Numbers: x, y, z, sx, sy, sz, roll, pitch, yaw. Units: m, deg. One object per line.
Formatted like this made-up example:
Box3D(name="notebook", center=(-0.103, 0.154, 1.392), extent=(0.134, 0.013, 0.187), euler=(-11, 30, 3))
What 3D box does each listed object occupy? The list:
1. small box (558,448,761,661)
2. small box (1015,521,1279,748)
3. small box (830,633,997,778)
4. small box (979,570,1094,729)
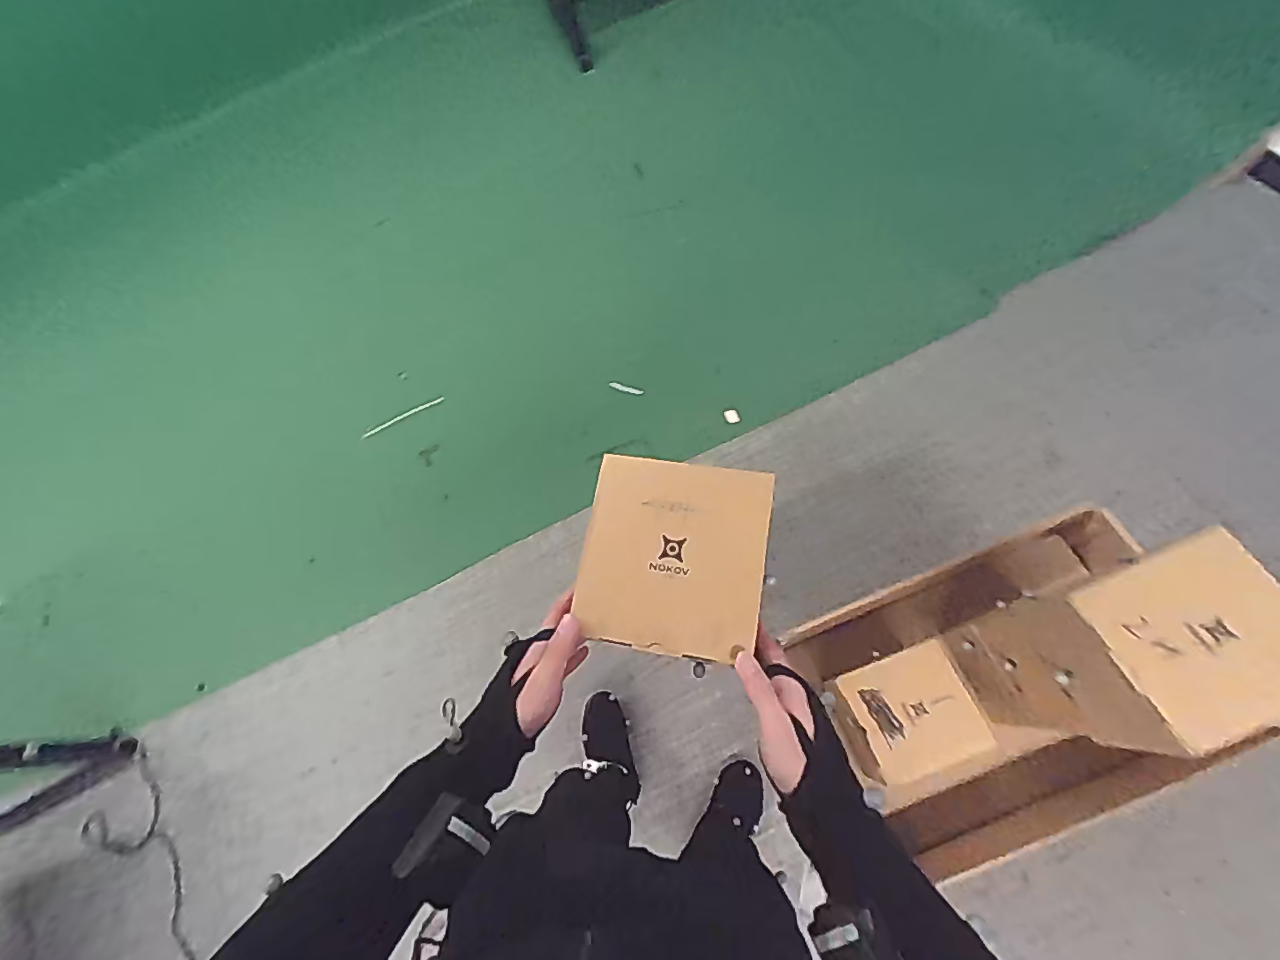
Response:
Box3D(name="small box", center=(0.031, 0.084, 0.563), extent=(0.168, 0.176, 0.179), euler=(7, 73, 11))
Box3D(name="small box", center=(0.570, 0.171, 0.597), extent=(0.179, 0.176, 0.168), euler=(-26, 65, 3))
Box3D(name="small box", center=(0.433, 0.372, 0.897), extent=(0.179, 0.176, 0.168), euler=(-22, 66, 0))
Box3D(name="small box", center=(0.619, 0.224, 0.746), extent=(0.179, 0.176, 0.168), euler=(-24, 66, 4))
